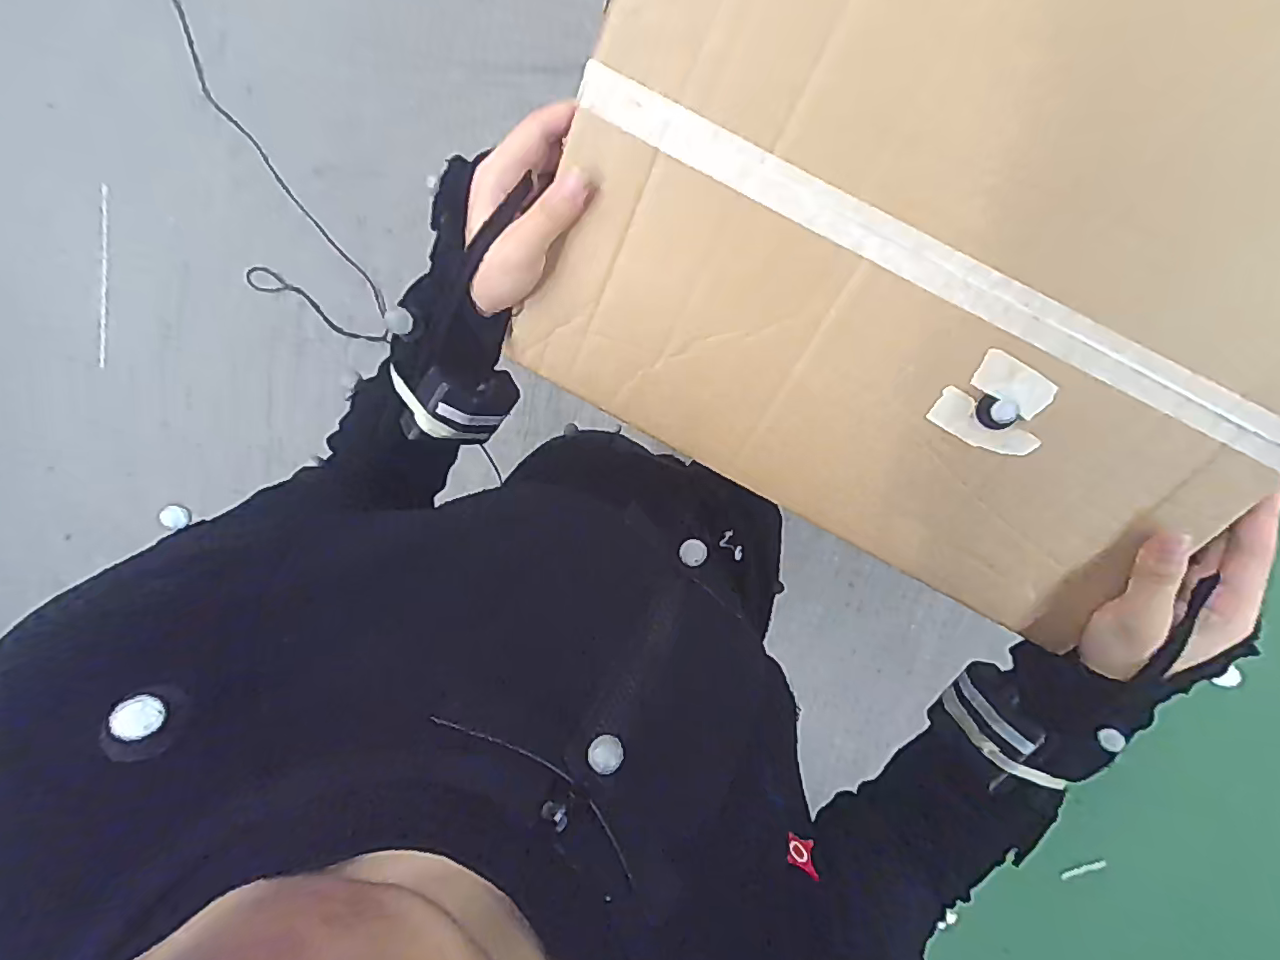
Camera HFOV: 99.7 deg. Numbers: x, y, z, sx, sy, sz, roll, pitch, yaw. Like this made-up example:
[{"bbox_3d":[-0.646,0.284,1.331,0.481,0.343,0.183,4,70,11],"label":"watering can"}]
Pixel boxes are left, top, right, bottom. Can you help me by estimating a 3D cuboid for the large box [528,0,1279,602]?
[{"bbox_3d":[0.189,-0.187,0.413,0.408,0.320,0.320,27,119,0],"label":"large box"}]
